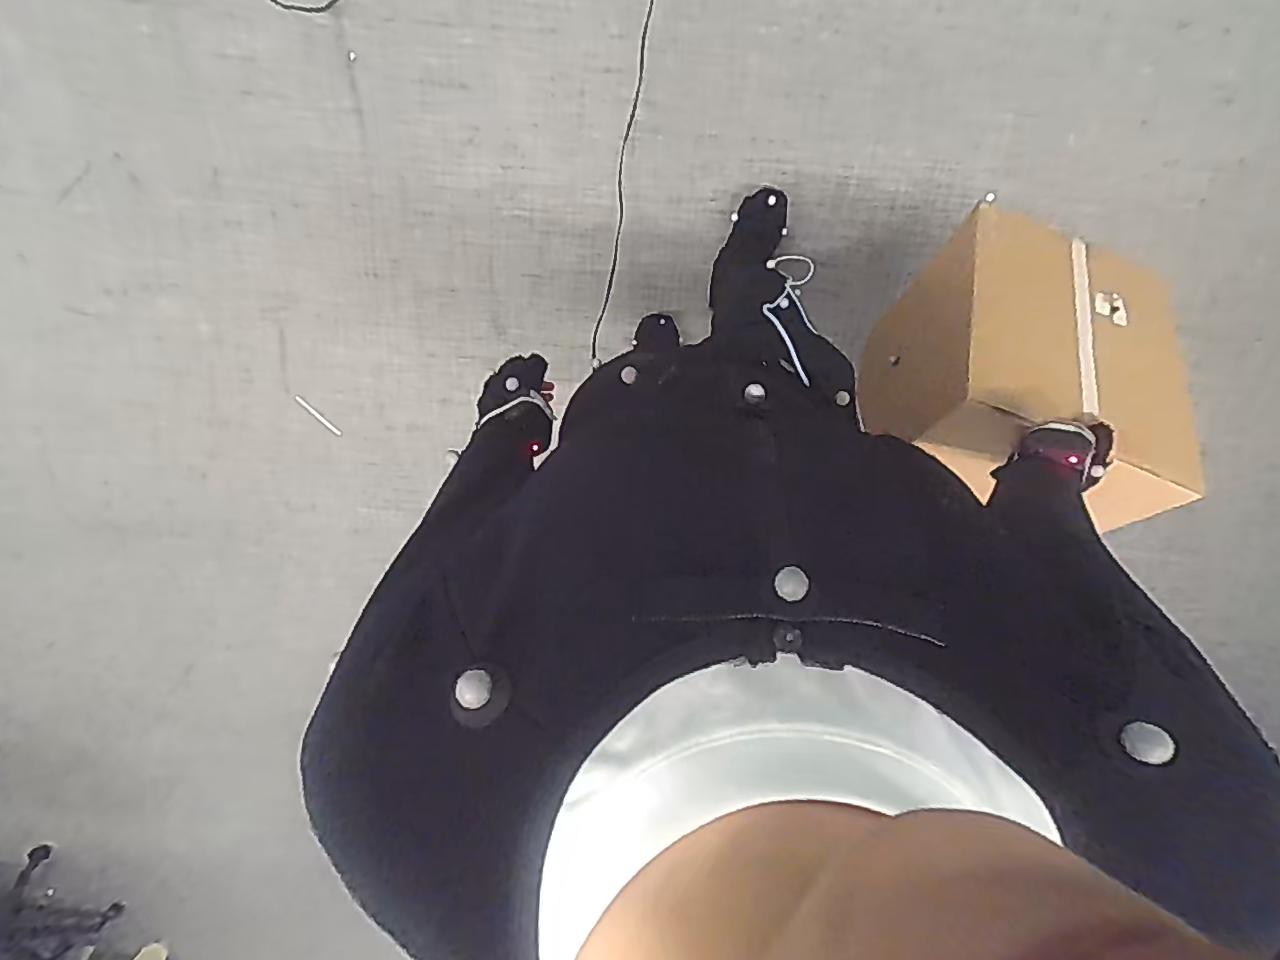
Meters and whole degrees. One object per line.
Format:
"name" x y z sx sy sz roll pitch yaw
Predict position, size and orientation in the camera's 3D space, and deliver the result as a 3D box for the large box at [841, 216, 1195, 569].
"large box" 0.560 -0.126 0.872 0.320 0.408 0.320 23 151 -1
